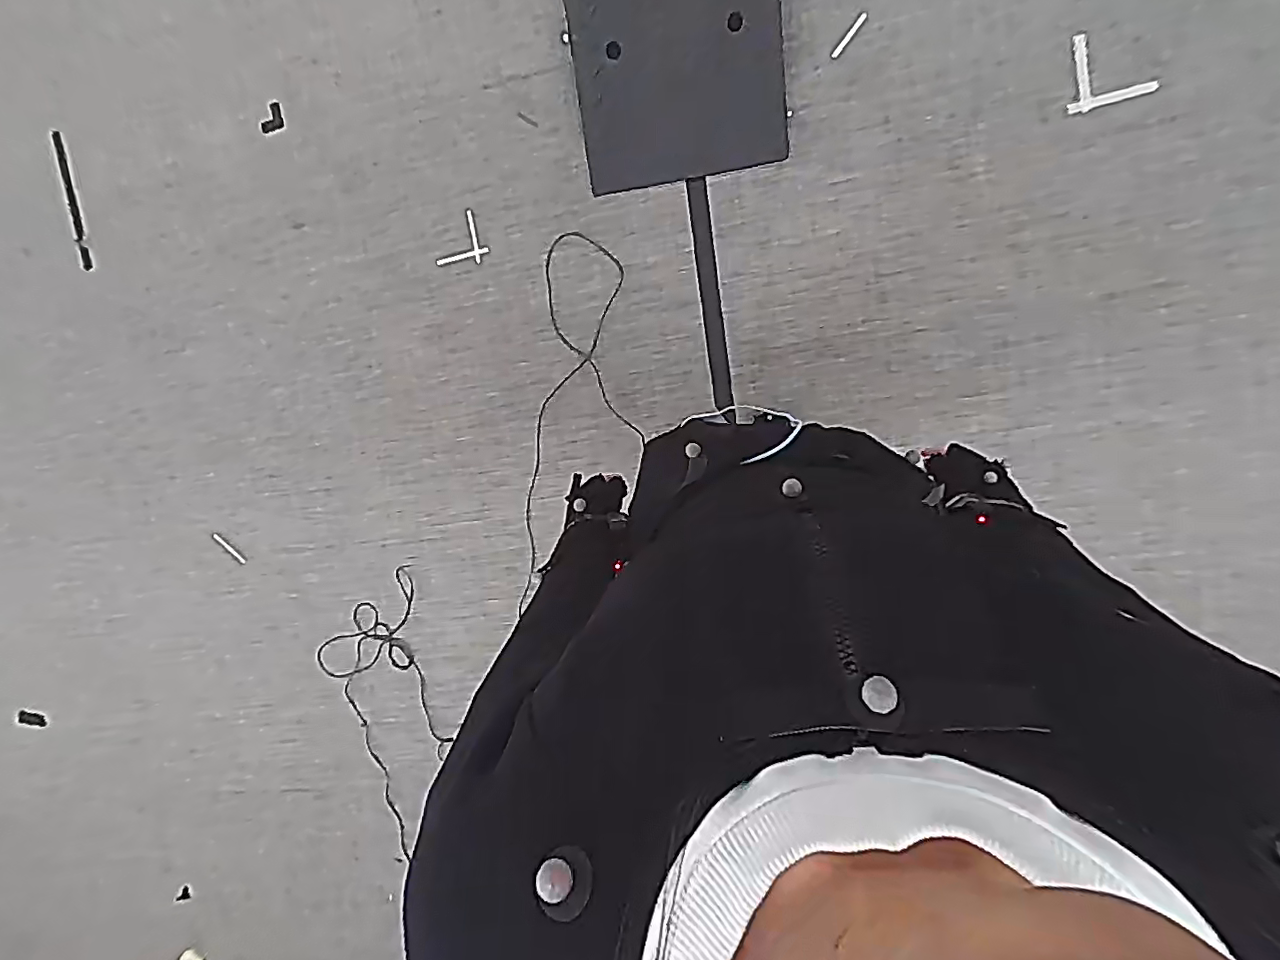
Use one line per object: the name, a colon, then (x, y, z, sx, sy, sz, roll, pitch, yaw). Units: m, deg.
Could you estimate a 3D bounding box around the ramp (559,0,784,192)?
ramp: (0.039, -1.226, 1.194, 0.509, 0.206, 0.991, -7, 98, 9)
